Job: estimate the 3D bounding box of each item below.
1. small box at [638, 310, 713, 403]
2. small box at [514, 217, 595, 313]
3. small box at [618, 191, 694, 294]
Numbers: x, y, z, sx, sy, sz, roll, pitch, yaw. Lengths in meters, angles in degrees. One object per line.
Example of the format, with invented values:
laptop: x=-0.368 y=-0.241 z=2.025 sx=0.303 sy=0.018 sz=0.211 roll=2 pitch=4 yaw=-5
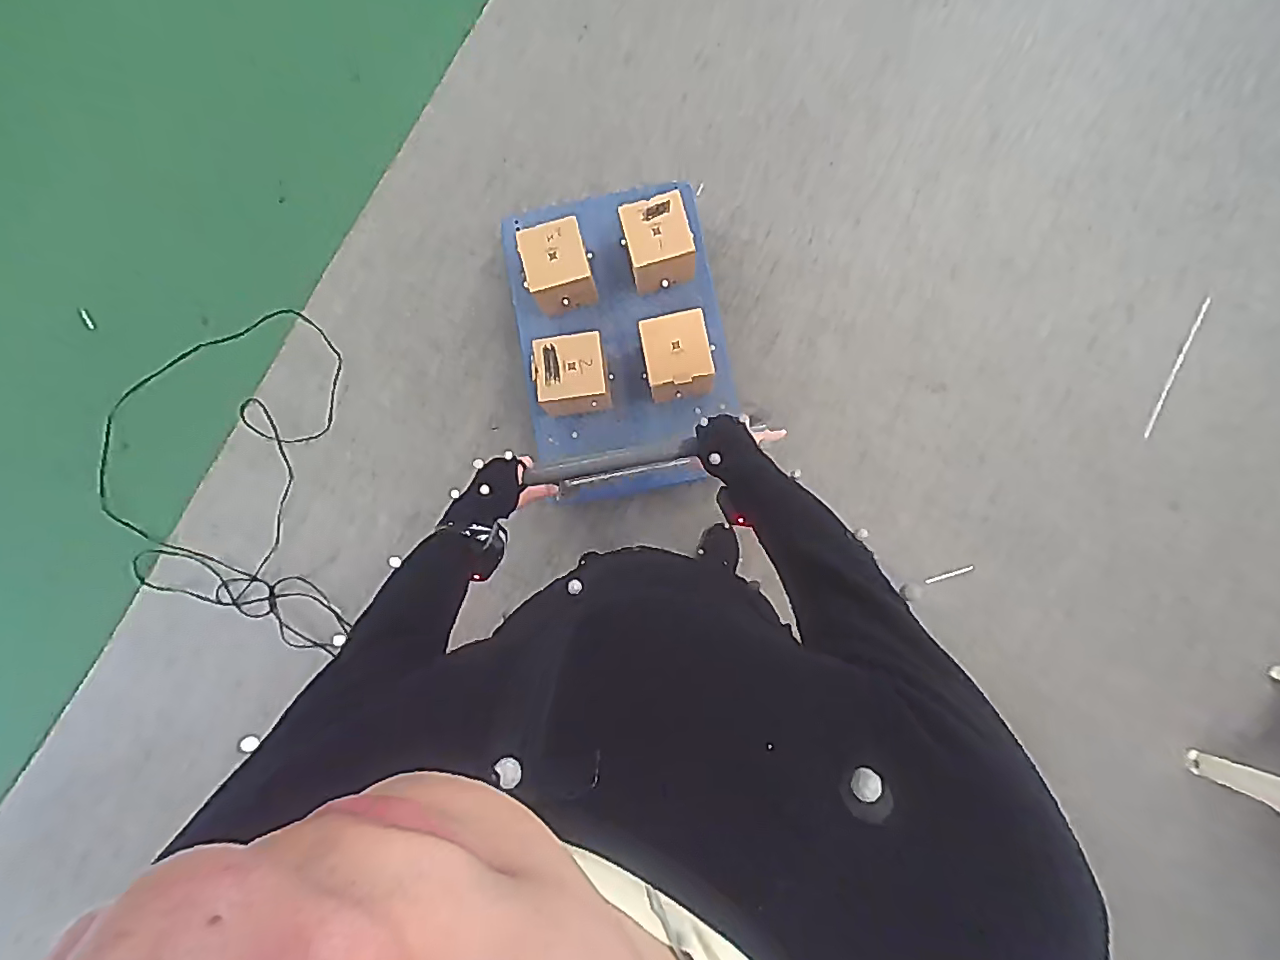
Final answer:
small box: x=0.093 y=-0.320 z=1.430 sx=0.168 sy=0.176 sz=0.179 roll=-11 pitch=84 yaw=3
small box: x=-0.226 y=-0.574 z=1.473 sx=0.168 sy=0.176 sz=0.179 roll=-15 pitch=84 yaw=1
small box: x=0.043 y=-0.634 z=1.462 sx=0.168 sy=0.176 sz=0.179 roll=-15 pitch=85 yaw=3
